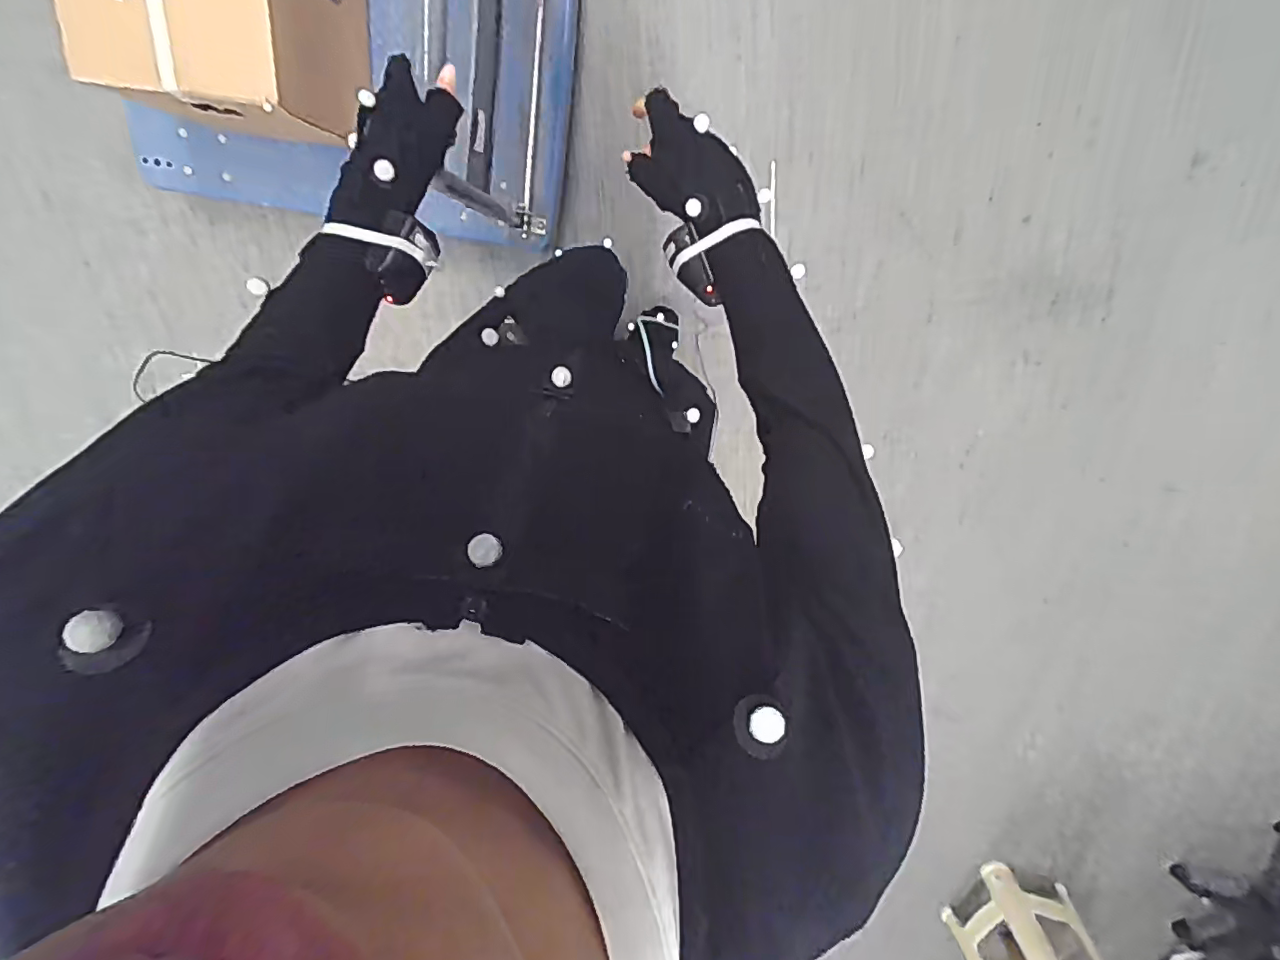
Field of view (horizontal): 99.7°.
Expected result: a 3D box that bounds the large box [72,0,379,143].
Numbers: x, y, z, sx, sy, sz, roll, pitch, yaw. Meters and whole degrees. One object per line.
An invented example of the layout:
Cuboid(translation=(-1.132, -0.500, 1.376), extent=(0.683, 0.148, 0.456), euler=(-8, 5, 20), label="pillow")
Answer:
Cuboid(translation=(-0.663, -0.835, 0.892), extent=(0.320, 0.320, 0.408), euler=(7, 111, 0), label="large box")
